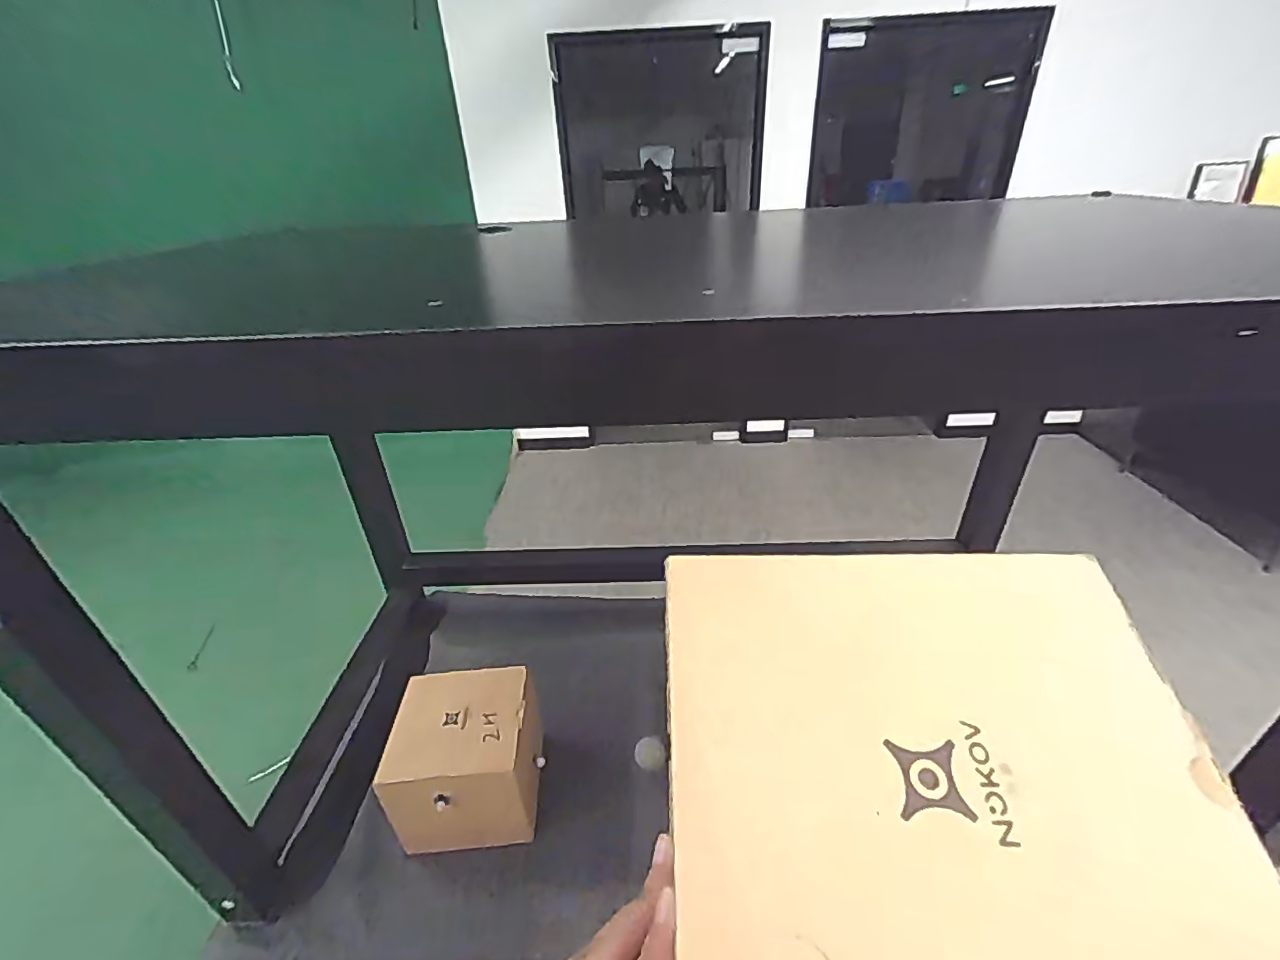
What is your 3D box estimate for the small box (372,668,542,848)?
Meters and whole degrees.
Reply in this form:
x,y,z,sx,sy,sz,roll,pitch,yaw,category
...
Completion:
x,y,z,sx,sy,sz,roll,pitch,yaw,category
-0.246,0.397,0.775,0.179,0.176,0.168,-3,31,-2,small box
